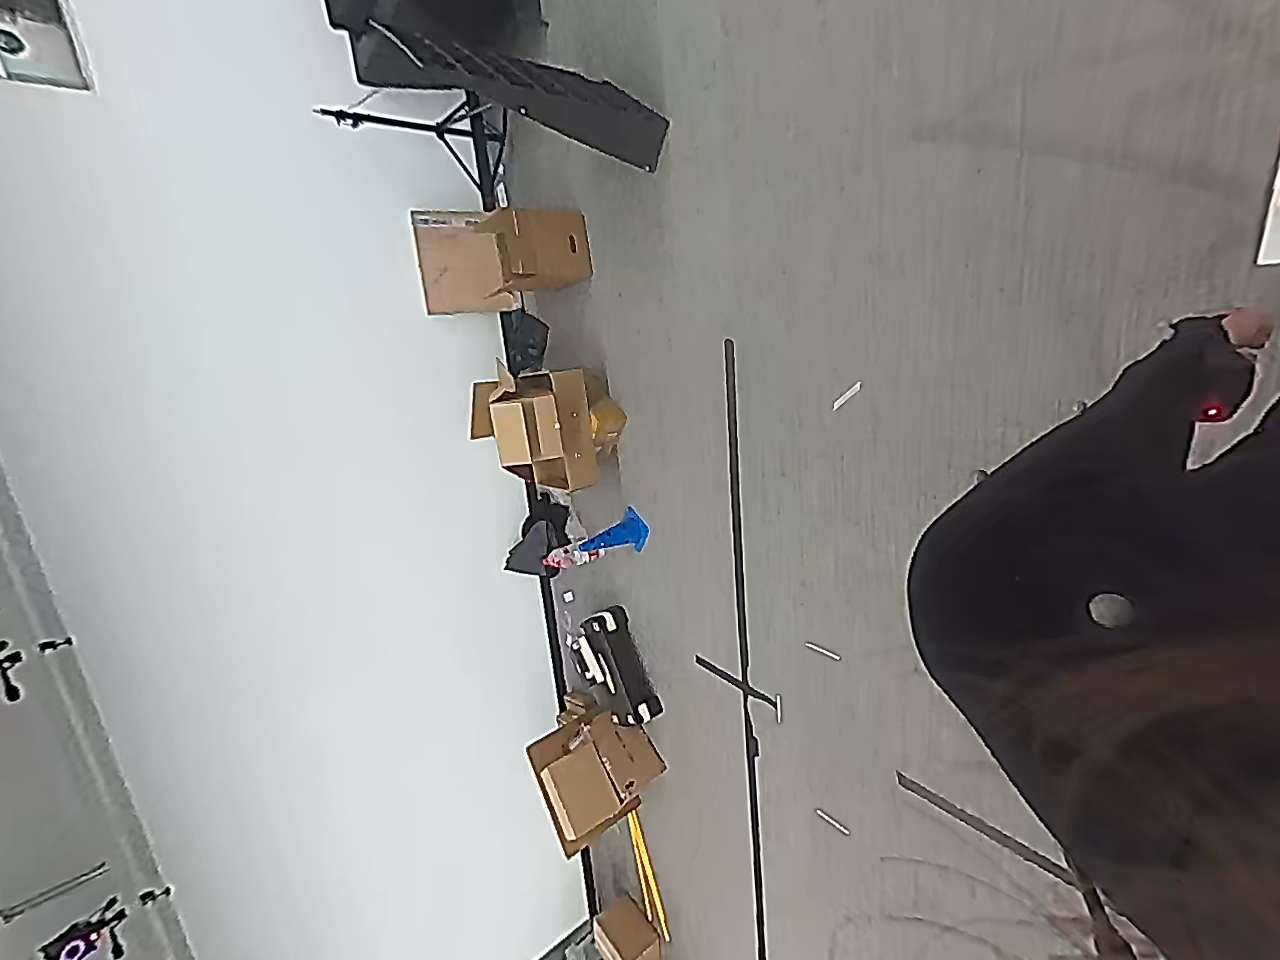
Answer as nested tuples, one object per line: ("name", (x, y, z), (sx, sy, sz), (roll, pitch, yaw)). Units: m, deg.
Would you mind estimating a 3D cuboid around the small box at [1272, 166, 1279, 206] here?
("small box", (0.764, -0.369, 0.525), (0.168, 0.176, 0.179), (15, 114, 51))
